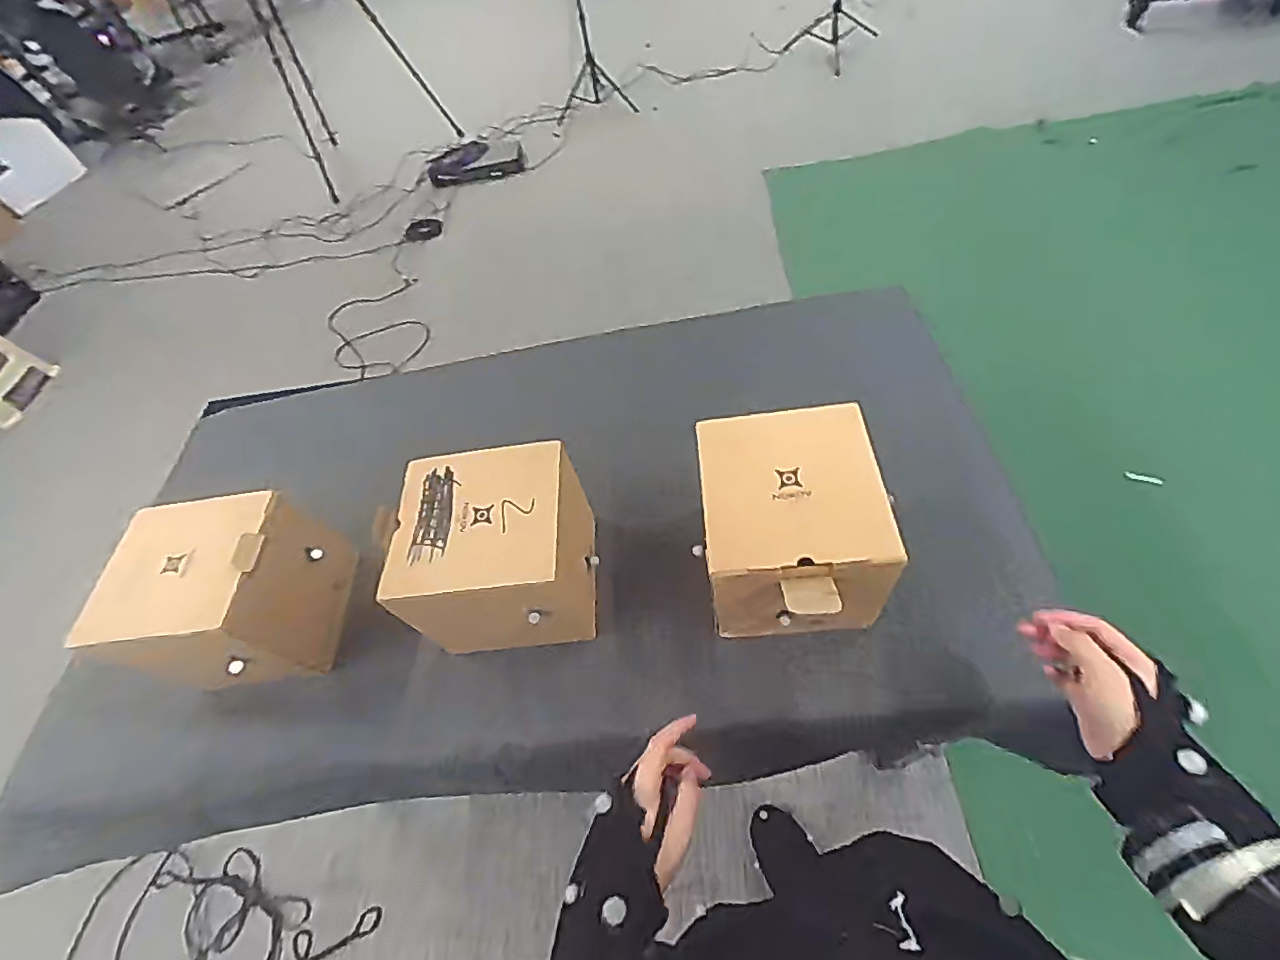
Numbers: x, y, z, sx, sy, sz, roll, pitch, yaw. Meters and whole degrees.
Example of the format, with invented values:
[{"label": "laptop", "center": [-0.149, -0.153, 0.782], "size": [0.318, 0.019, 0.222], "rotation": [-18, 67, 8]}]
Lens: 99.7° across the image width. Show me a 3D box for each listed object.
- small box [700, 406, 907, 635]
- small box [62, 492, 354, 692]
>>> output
[{"label": "small box", "center": [0.153, 0.048, 0.572], "size": [0.168, 0.176, 0.179], "rotation": [-6, 56, 6]}, {"label": "small box", "center": [-0.472, 0.137, 0.629], "size": [0.179, 0.176, 0.168], "rotation": [-9, 54, 6]}]
